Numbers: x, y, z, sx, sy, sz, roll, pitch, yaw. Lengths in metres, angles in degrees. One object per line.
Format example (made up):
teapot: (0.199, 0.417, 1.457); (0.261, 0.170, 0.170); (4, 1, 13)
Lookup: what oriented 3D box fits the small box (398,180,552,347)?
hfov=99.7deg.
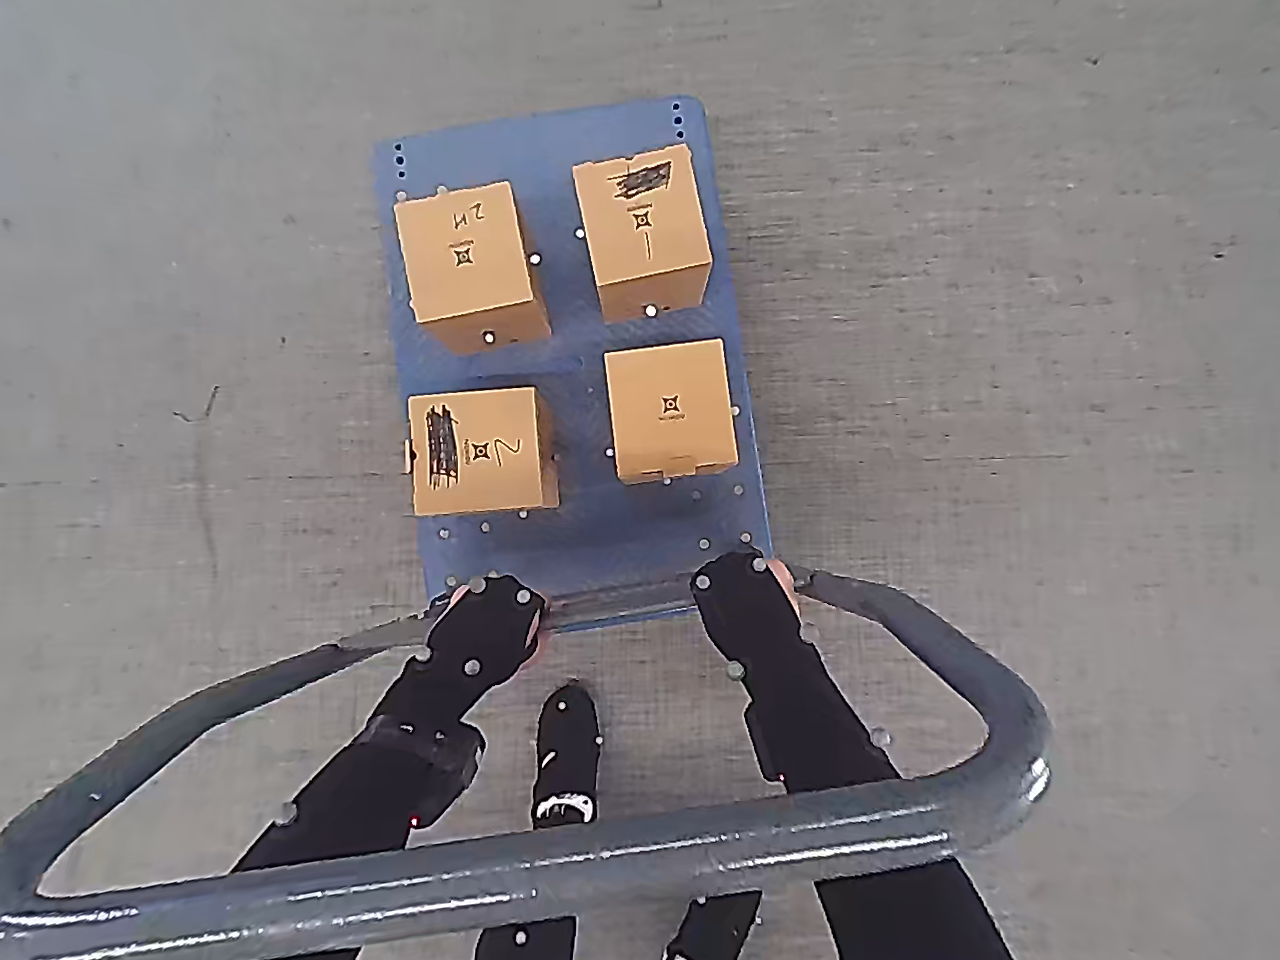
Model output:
small box: (-0.238, -0.312, 0.822); (0.168, 0.176, 0.179); (-11, 88, -1)

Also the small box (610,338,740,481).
small box: (0.046, -0.097, 0.813); (0.168, 0.176, 0.179); (-7, 88, 0)

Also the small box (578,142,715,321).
small box: (0.008, -0.365, 0.822); (0.168, 0.176, 0.179); (-11, 89, 1)
